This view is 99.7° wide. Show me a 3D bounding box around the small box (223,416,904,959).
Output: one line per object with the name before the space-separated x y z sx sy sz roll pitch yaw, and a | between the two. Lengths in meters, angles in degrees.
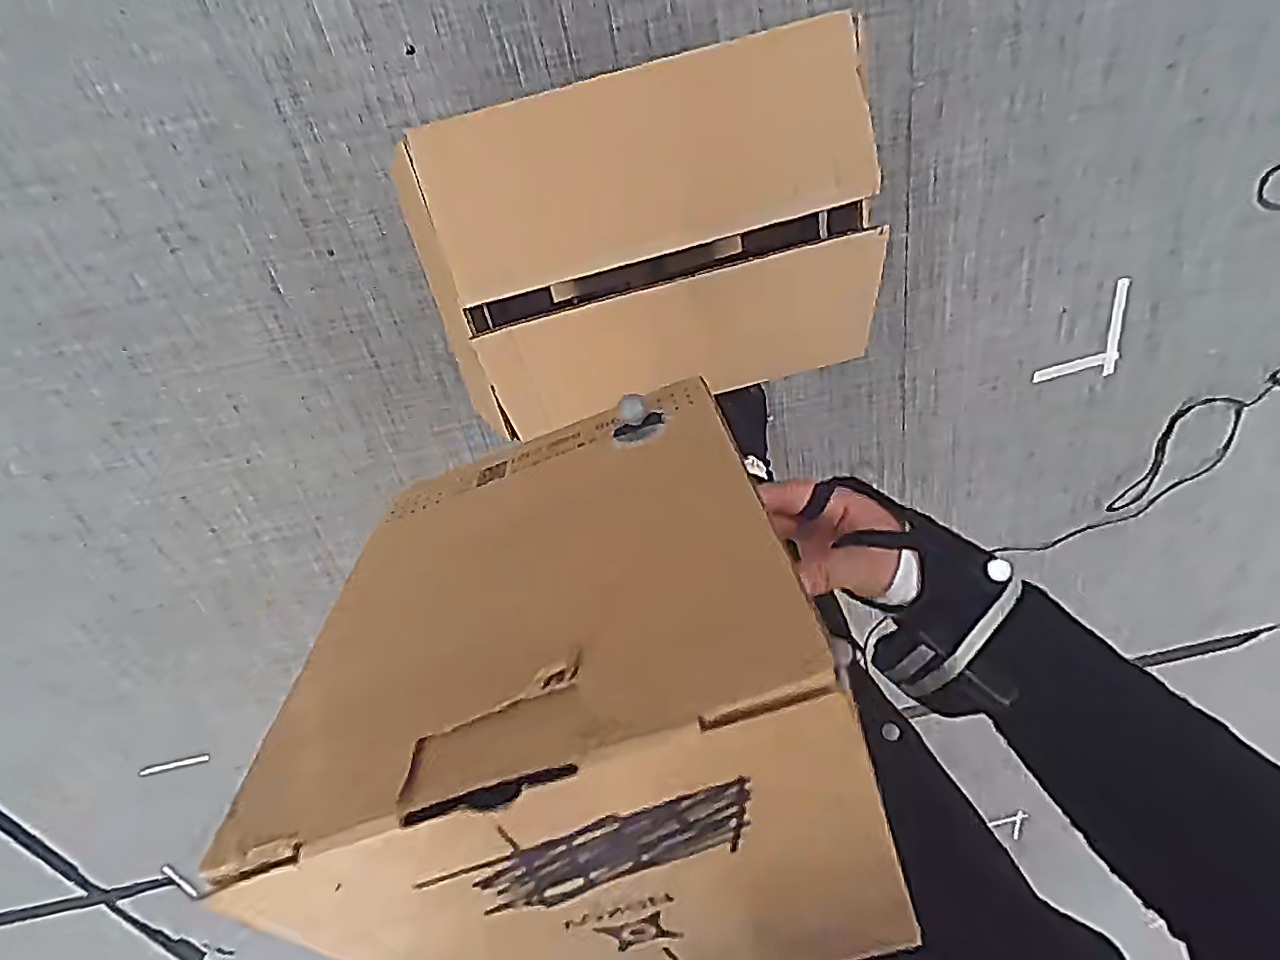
small box | -0.011 0.092 0.240 0.168 0.176 0.179 -21 124 8
